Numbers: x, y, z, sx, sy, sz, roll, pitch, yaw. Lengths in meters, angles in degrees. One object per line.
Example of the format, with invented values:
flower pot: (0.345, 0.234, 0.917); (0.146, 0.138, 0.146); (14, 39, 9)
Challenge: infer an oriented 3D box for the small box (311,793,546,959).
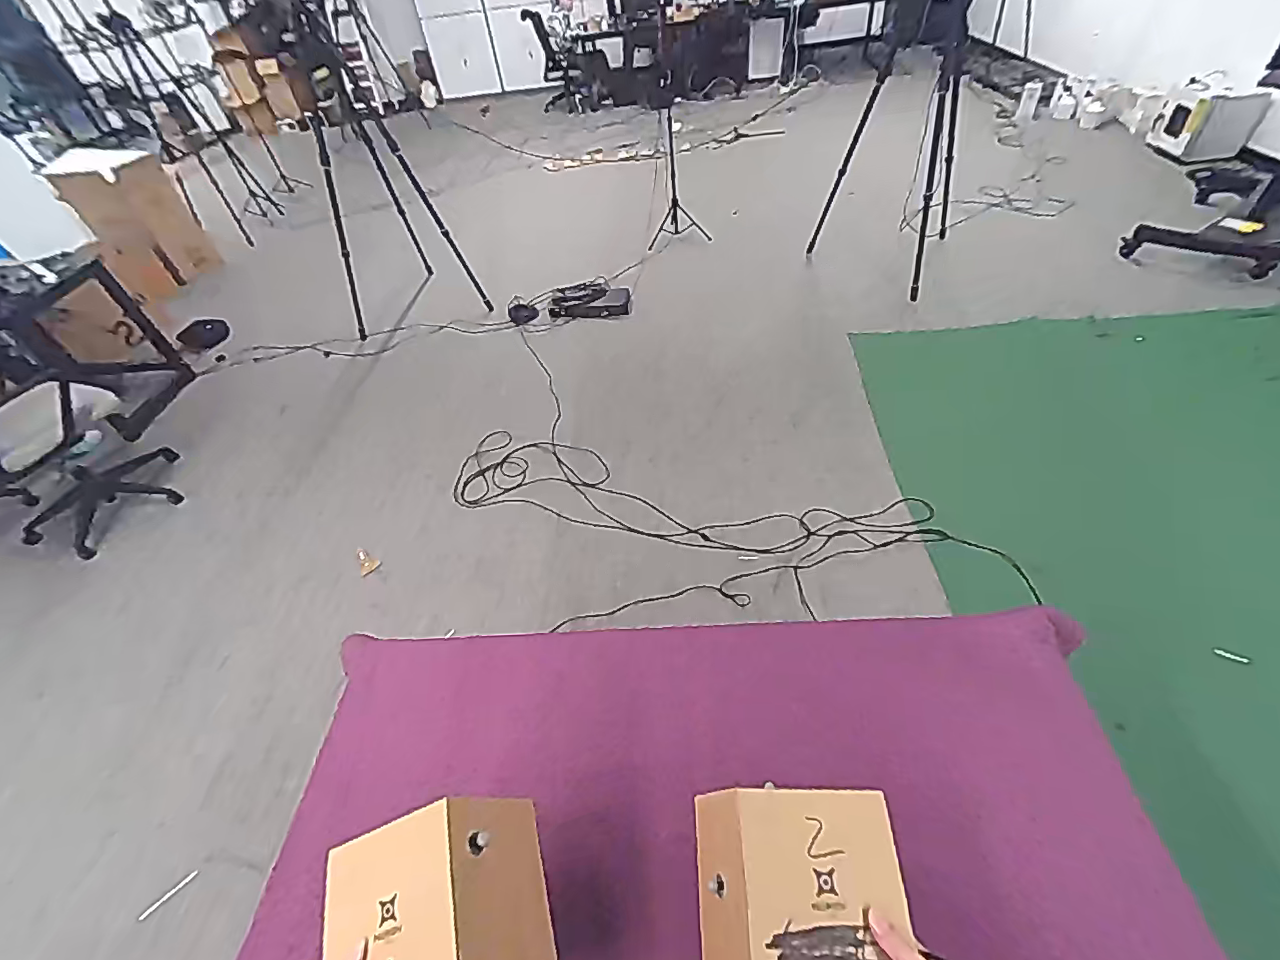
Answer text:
small box: (-0.226, 0.469, 0.596); (0.168, 0.176, 0.179); (-28, 53, 10)
